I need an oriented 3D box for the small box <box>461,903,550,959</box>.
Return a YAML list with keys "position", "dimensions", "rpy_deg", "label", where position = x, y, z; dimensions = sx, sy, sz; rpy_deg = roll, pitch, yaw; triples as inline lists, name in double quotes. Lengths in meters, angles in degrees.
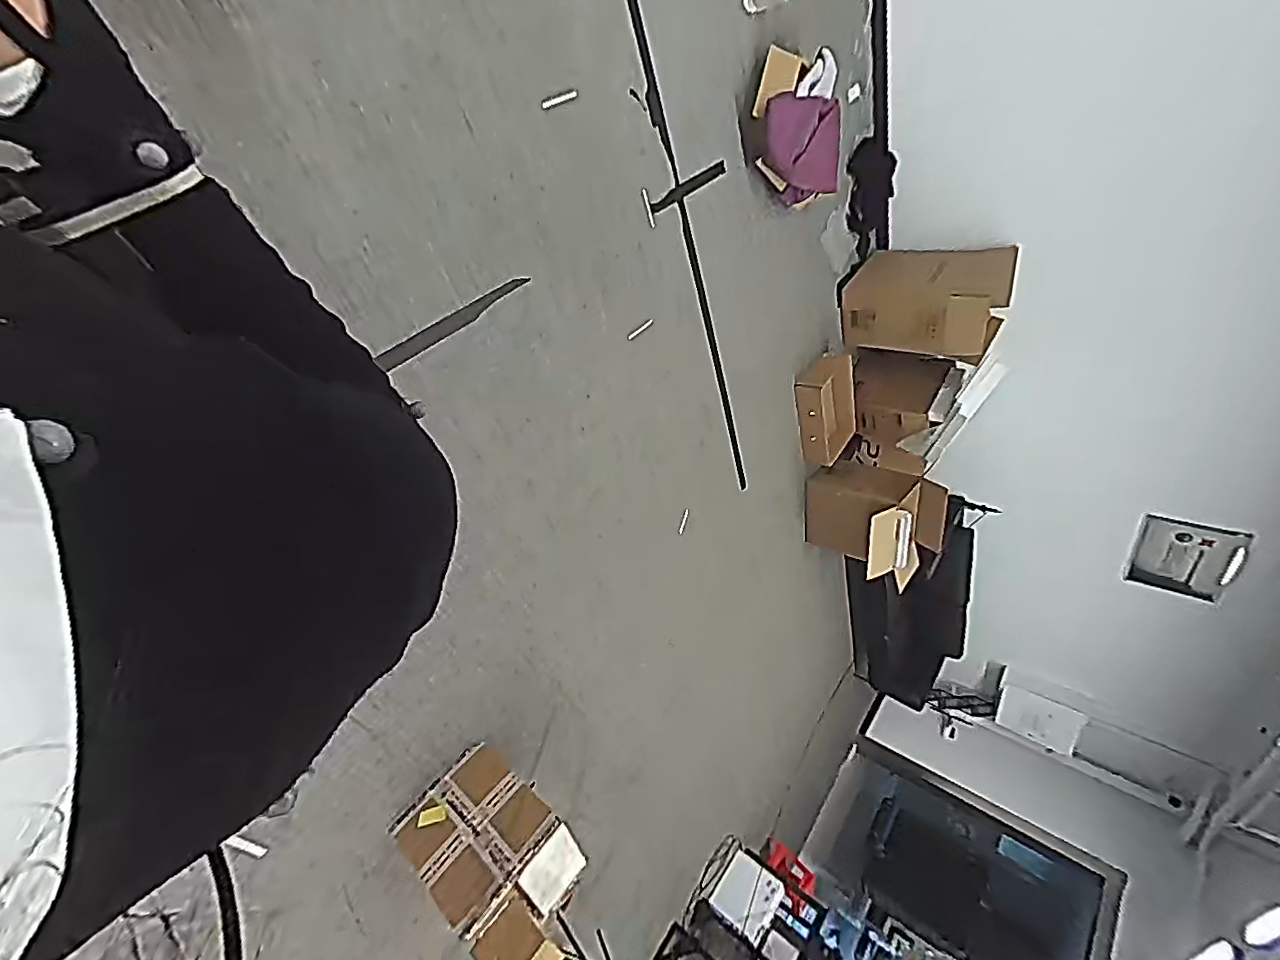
- position: [-0.407, 1.427, 1.612]
  dimensions: [0.179, 0.176, 0.168]
  rpy_deg: [-42, 131, -31]
  label: "small box"
